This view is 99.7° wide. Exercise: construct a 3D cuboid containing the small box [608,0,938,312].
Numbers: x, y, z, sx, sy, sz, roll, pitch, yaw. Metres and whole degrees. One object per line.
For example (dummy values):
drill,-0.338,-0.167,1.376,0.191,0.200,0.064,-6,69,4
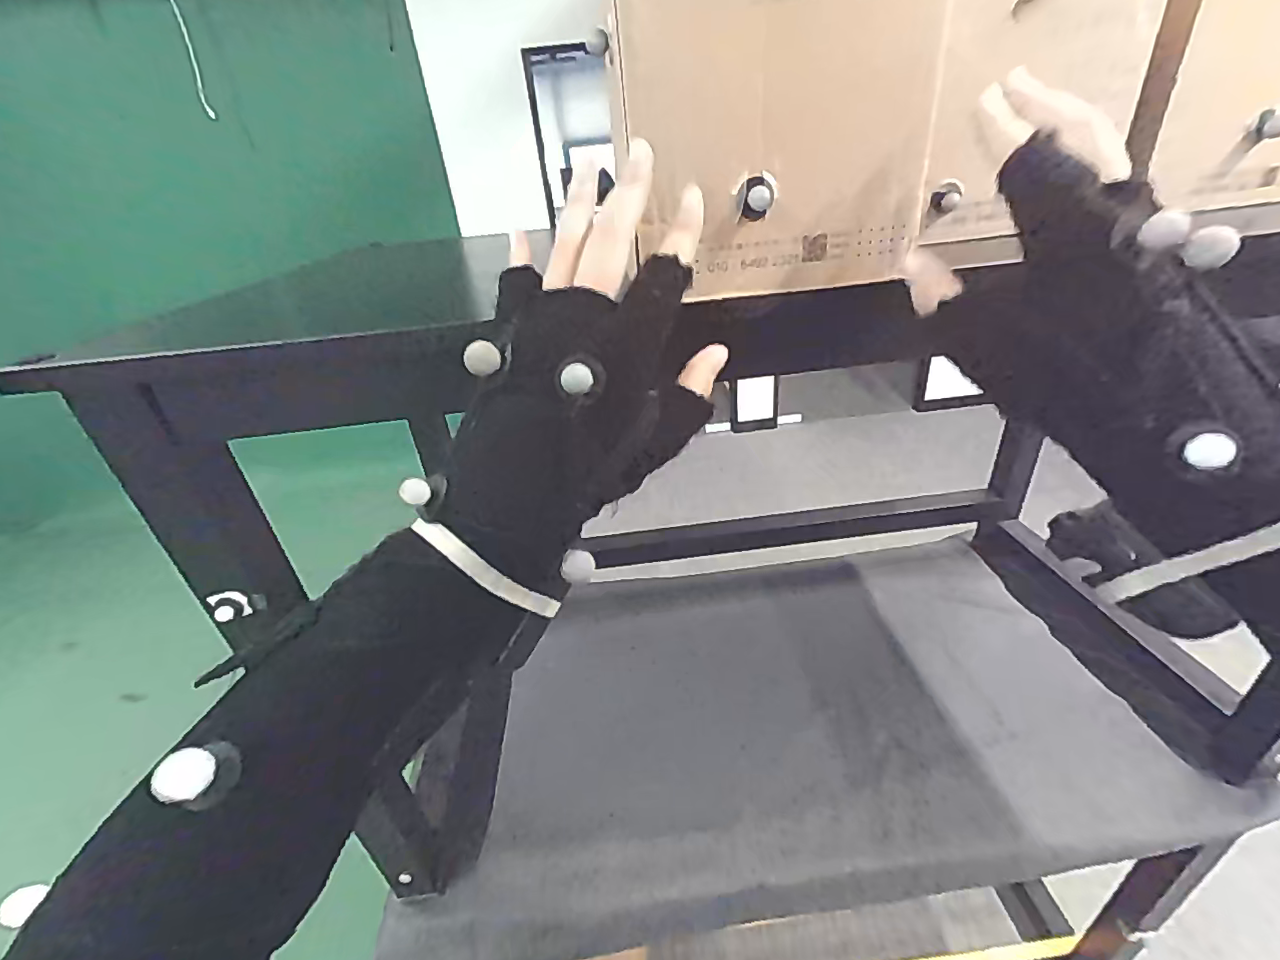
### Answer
small box,0.068,-0.220,0.372,0.168,0.176,0.179,-7,30,-1
